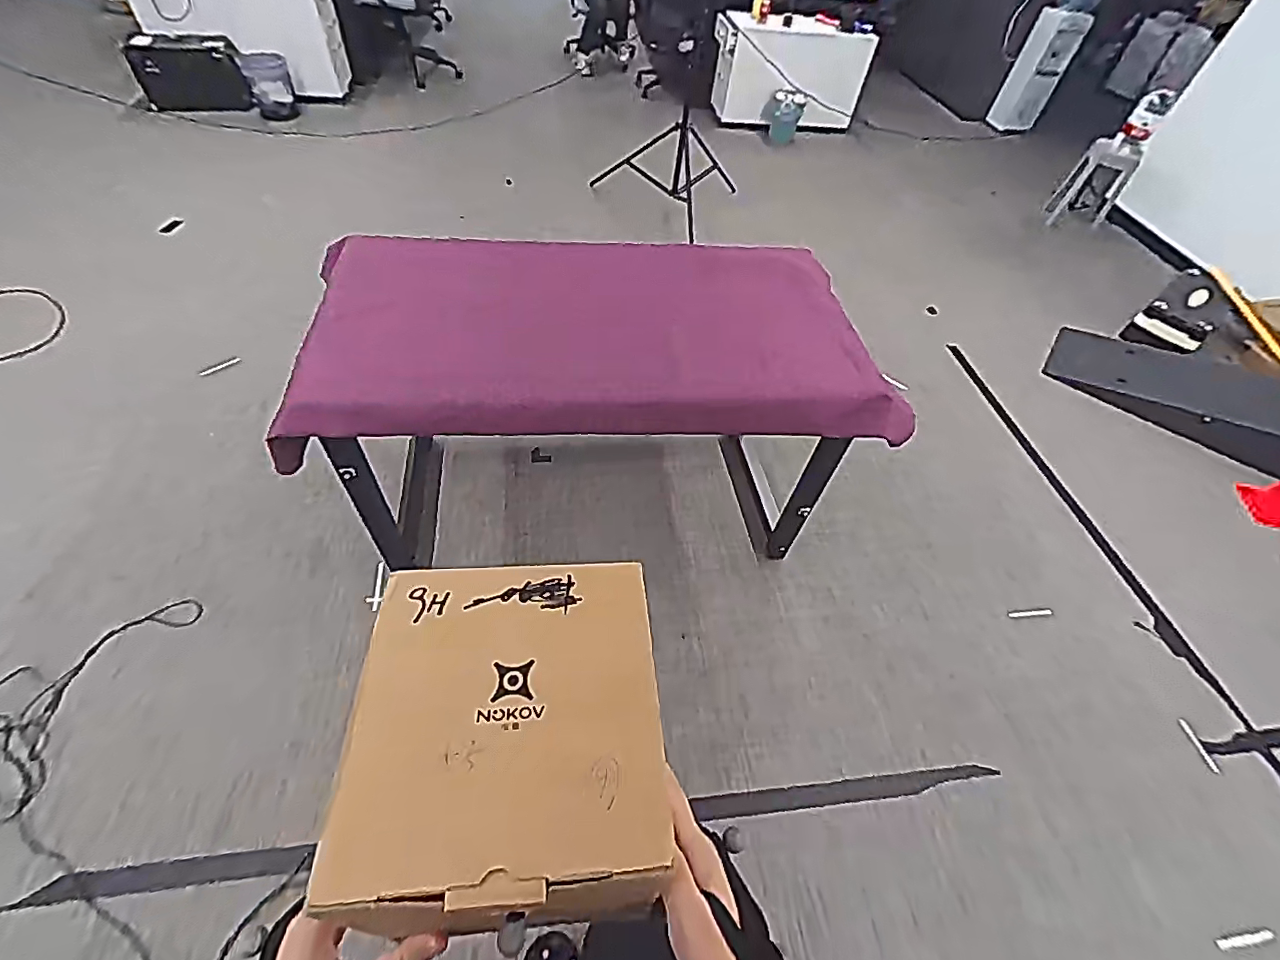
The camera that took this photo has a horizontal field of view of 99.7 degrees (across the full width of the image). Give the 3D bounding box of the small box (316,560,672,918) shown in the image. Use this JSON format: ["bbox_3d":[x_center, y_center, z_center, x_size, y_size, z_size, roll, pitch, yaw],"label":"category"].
[{"bbox_3d":[-0.076,0.173,0.360,0.168,0.176,0.179,0,47,-7],"label":"small box"}]
